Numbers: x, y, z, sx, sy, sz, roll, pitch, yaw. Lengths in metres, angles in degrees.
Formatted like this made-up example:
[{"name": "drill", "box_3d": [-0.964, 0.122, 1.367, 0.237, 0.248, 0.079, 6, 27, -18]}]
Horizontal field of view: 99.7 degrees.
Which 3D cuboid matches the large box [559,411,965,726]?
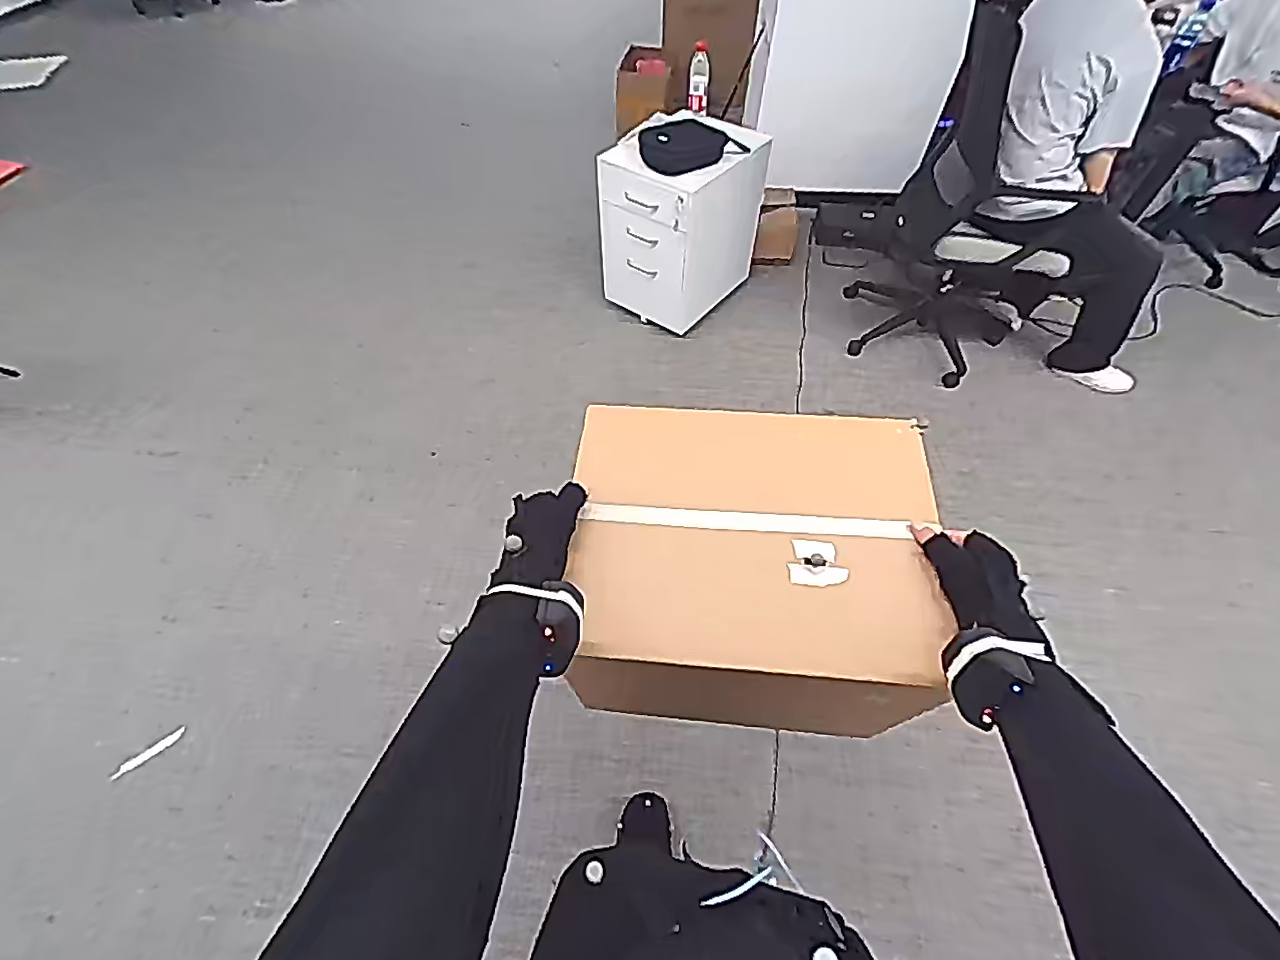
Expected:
[{"name": "large box", "box_3d": [0.132, 0.128, 0.731, 0.408, 0.320, 0.320, 4, 59, 5]}]
